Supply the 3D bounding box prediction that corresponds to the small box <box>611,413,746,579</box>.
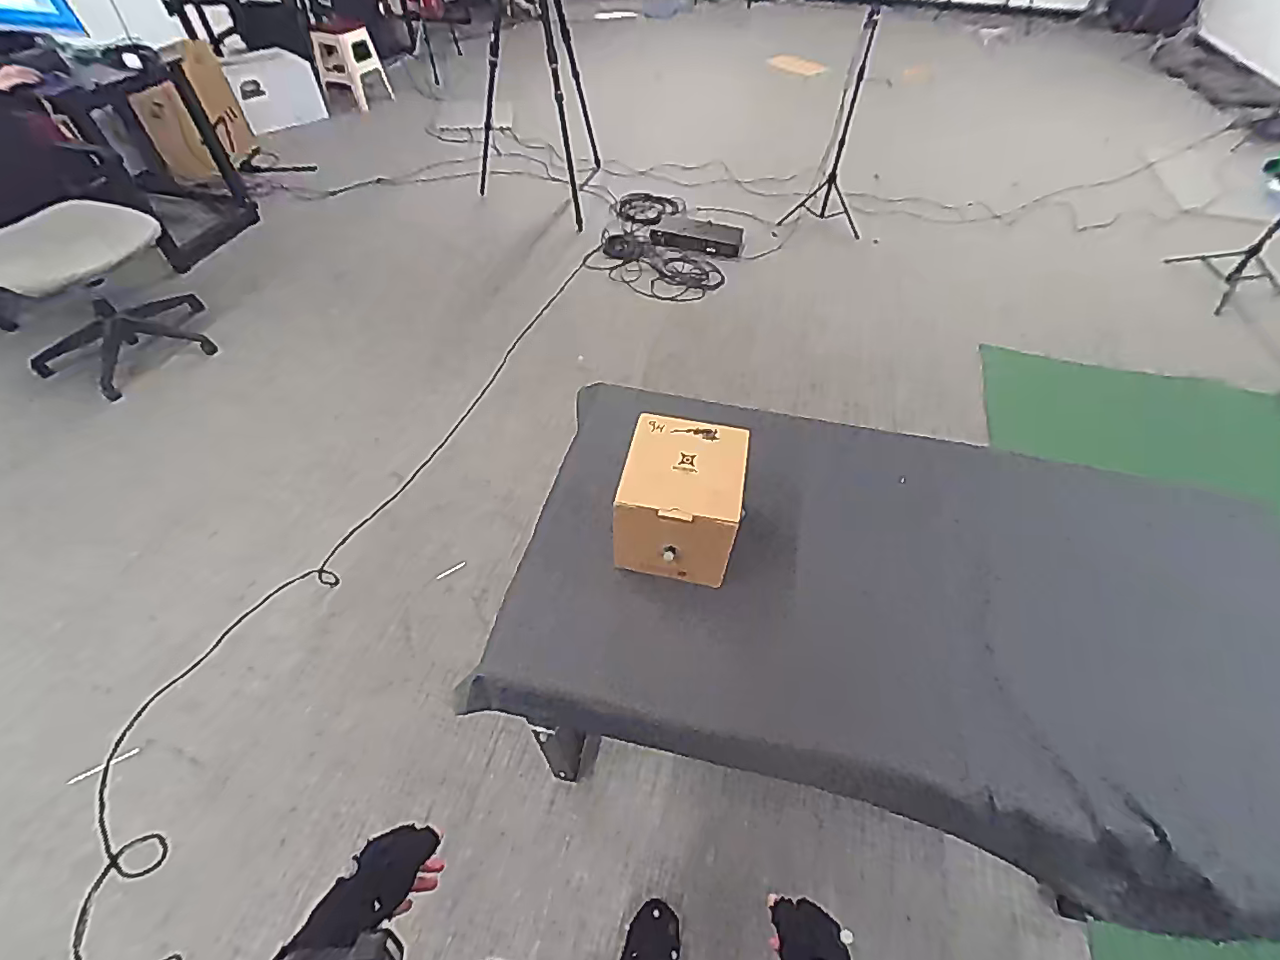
[{"bbox_3d":[0.059,0.028,0.818,0.168,0.176,0.179,10,52,7],"label":"small box"}]
